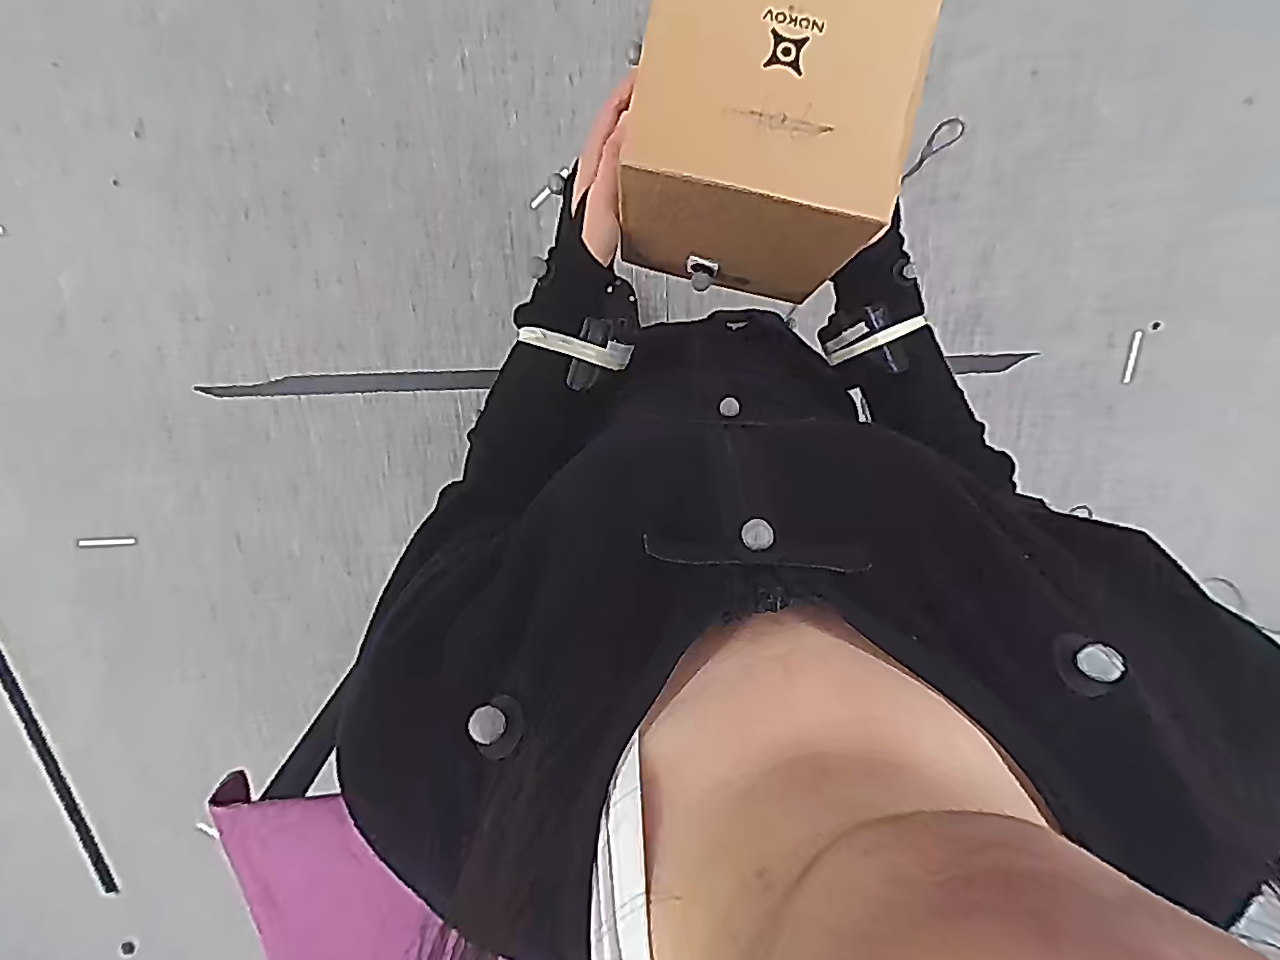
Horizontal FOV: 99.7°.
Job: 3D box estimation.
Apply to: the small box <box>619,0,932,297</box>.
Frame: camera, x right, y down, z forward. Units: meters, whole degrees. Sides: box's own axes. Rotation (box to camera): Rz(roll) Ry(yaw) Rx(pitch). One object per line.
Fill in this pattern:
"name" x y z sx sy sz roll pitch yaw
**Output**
"small box" 0.081 -0.259 0.398 0.168 0.176 0.179 12 92 -1
